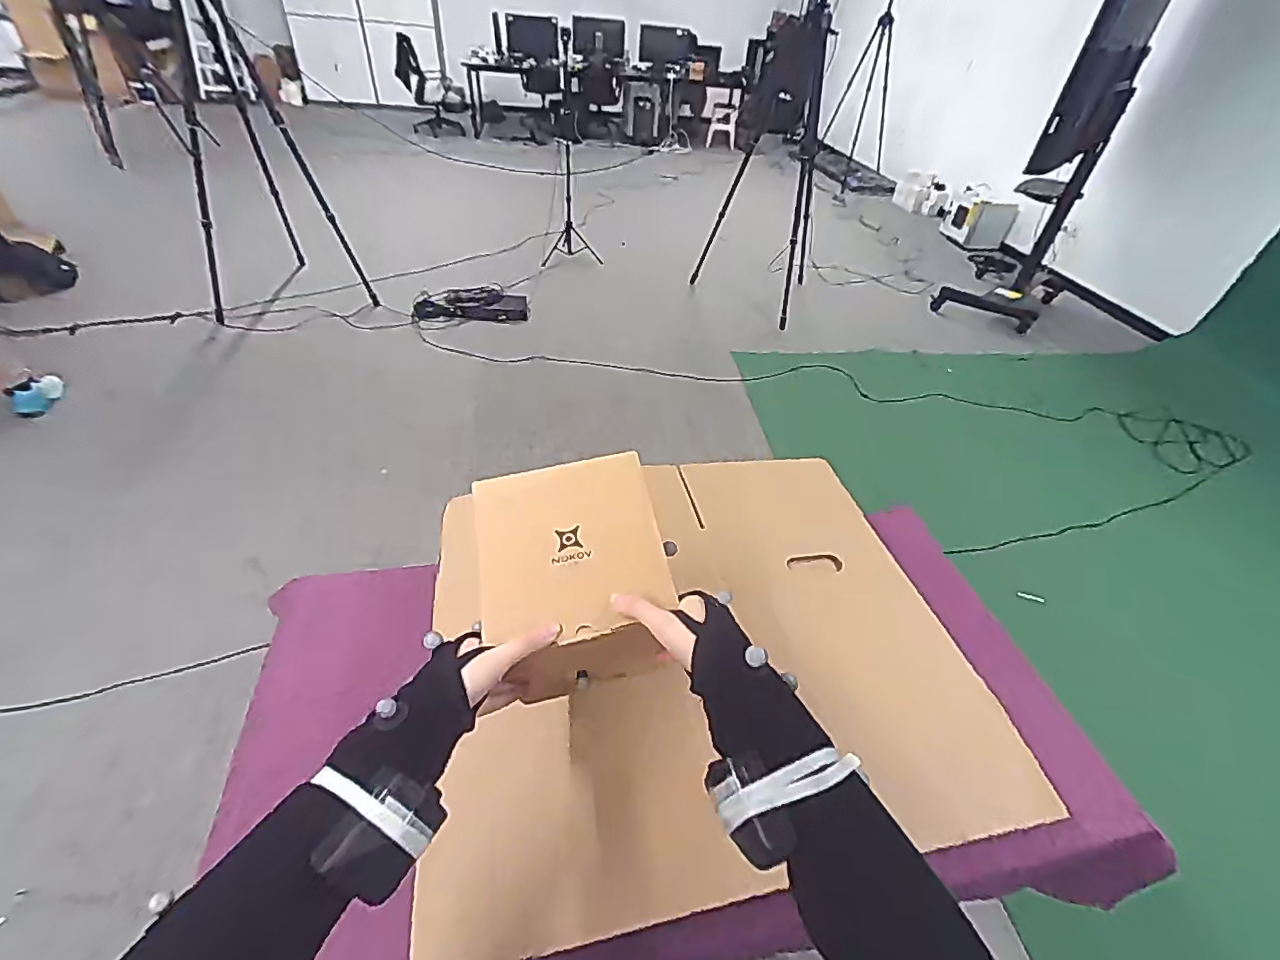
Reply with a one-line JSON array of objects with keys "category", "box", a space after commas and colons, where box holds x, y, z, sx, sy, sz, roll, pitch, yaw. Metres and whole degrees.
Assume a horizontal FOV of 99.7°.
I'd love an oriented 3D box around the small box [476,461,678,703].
[{"category": "small box", "box": [-0.064, 0.109, 0.561, 0.168, 0.176, 0.179, -12, 58, -6]}]
